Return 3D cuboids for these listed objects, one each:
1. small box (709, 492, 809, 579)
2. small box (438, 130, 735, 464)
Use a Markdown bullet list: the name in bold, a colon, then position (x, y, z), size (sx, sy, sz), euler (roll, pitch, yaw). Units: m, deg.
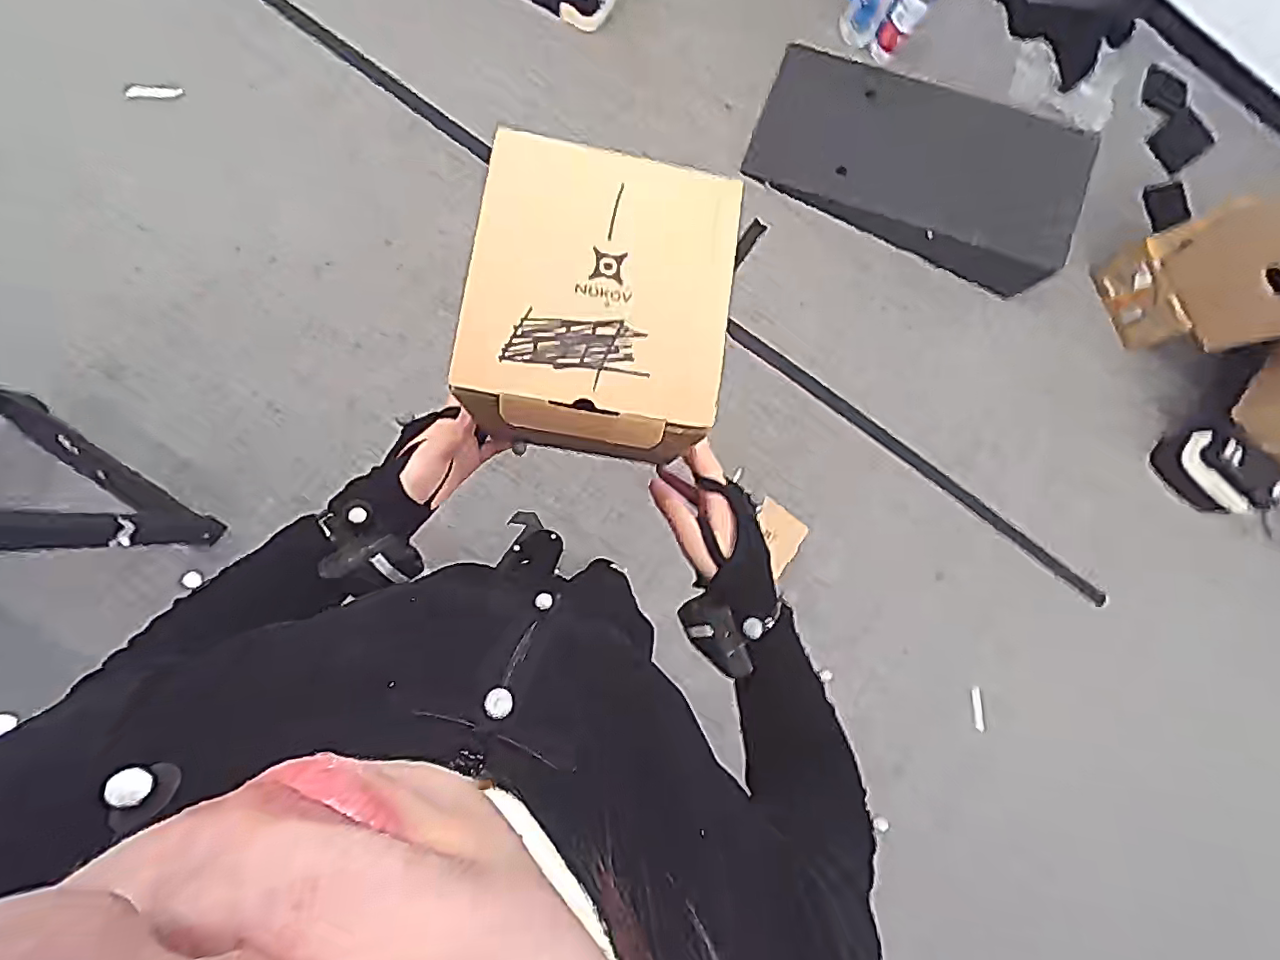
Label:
- **small box**: position (0.321, 0.149, 1.490), size (0.179, 0.176, 0.168), euler (39, 80, -4)
- **small box**: position (-0.039, -0.115, 0.416), size (0.168, 0.176, 0.179), euler (9, 82, -7)
